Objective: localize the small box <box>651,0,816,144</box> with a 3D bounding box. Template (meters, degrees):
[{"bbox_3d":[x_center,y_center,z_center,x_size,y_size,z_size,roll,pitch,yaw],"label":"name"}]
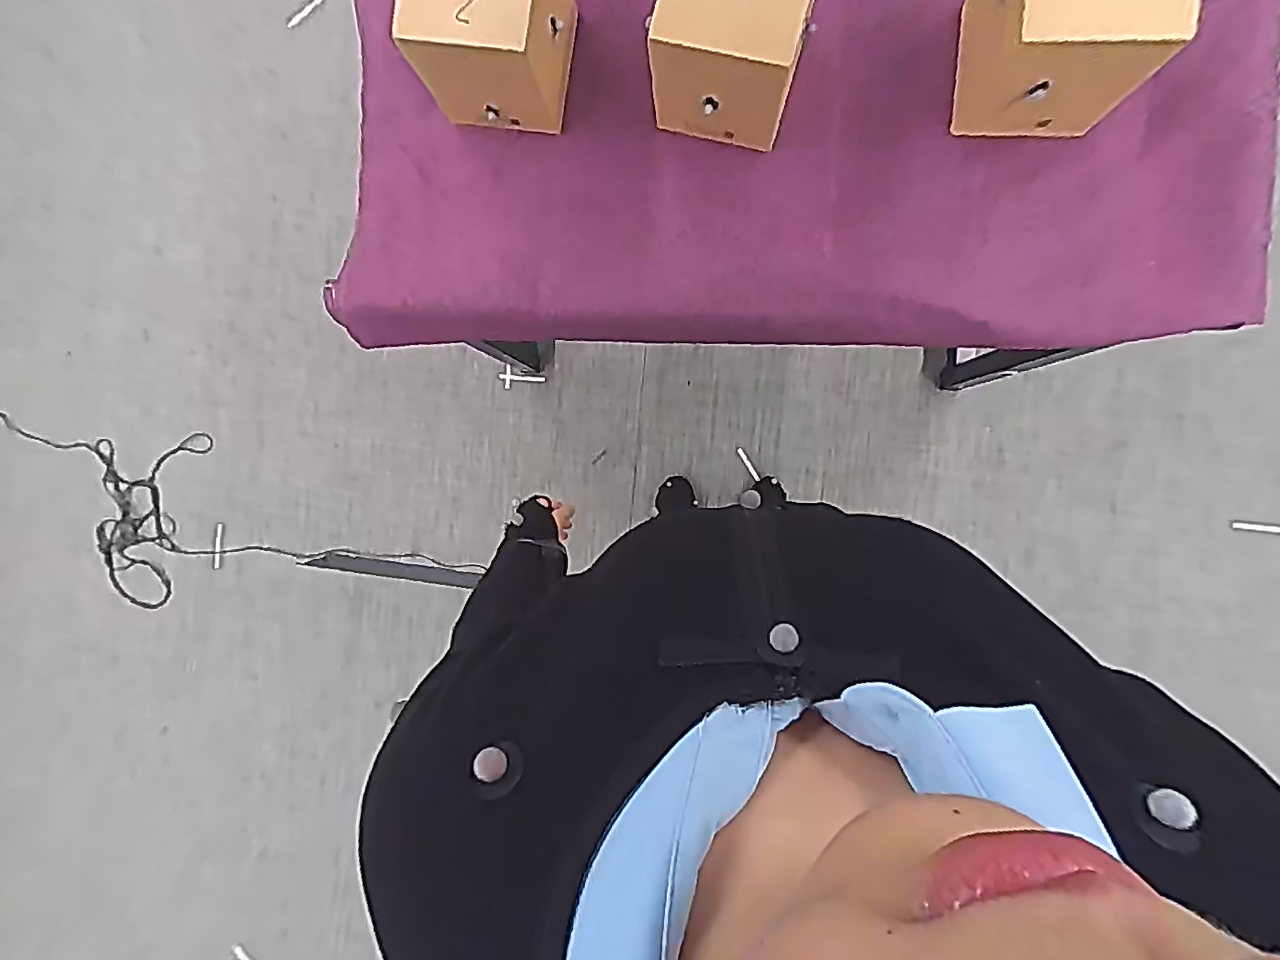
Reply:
[{"bbox_3d":[0.121,-0.560,0.672,0.168,0.176,0.179,16,93,5],"label":"small box"}]

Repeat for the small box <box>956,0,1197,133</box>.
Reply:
[{"bbox_3d":[0.496,-0.540,0.634,0.168,0.176,0.179,5,91,7],"label":"small box"}]
